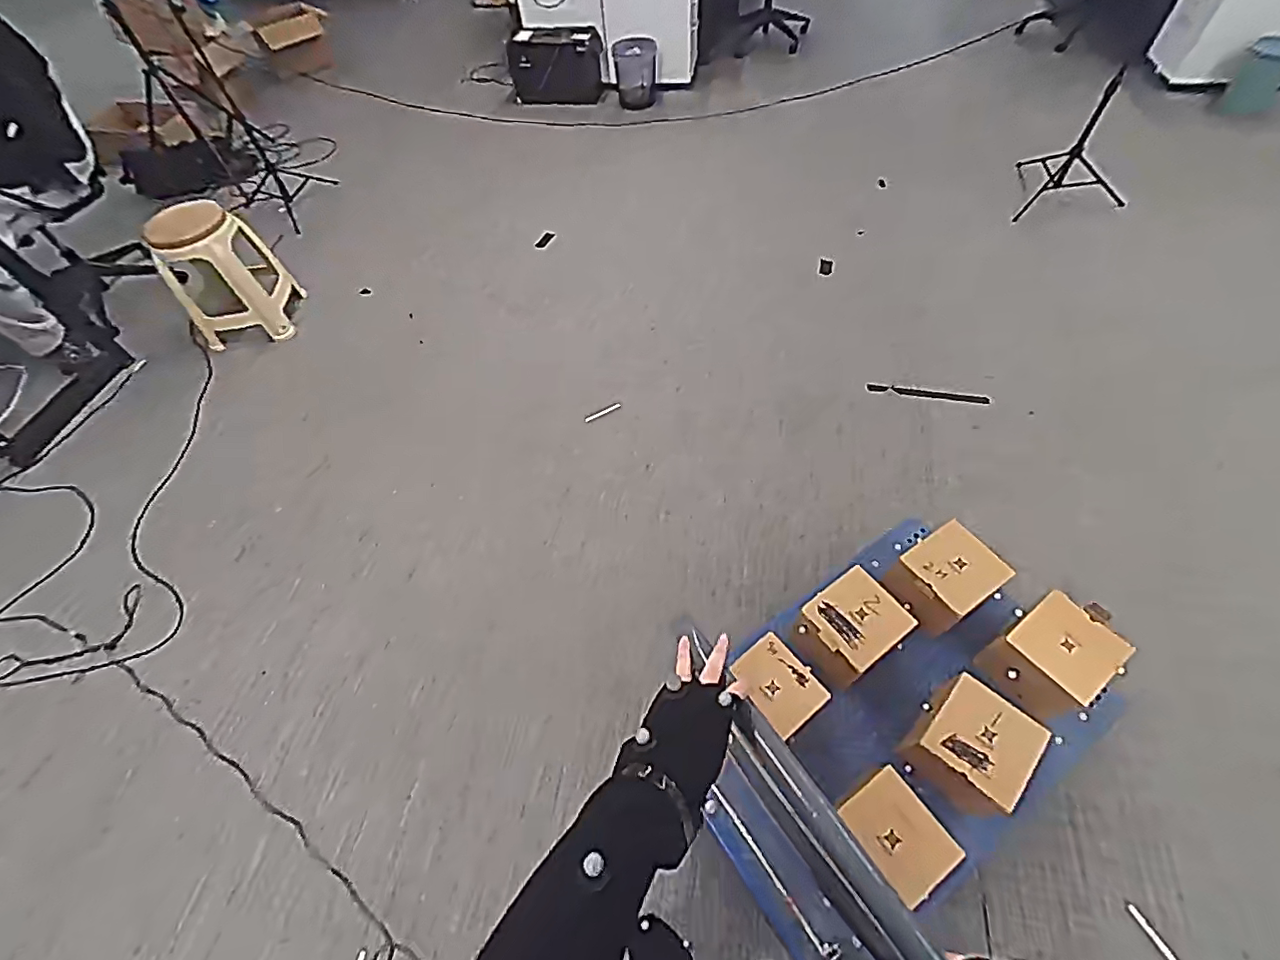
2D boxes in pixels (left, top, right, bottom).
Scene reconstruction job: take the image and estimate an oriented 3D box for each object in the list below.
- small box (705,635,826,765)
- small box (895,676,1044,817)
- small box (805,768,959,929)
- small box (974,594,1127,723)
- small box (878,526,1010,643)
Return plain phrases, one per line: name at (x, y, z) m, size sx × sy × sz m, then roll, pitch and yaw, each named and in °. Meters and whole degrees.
small box at (0.252, 0.462, 1.123) m, size 0.179 × 0.176 × 0.168 m, roll -34°, pitch 61°, yaw -17°
small box at (0.627, 0.523, 1.054) m, size 0.168 × 0.176 × 0.179 m, roll 38°, pitch 65°, yaw 25°
small box at (0.421, 0.659, 0.978) m, size 0.179 × 0.176 × 0.168 m, roll -30°, pitch 59°, yaw -16°
small box at (0.843, 0.379, 1.136) m, size 0.179 × 0.176 × 0.168 m, roll -33°, pitch 59°, yaw -17°
small box at (0.683, 0.241, 1.239) m, size 0.179 × 0.176 × 0.168 m, roll -30°, pitch 58°, yaw -14°
